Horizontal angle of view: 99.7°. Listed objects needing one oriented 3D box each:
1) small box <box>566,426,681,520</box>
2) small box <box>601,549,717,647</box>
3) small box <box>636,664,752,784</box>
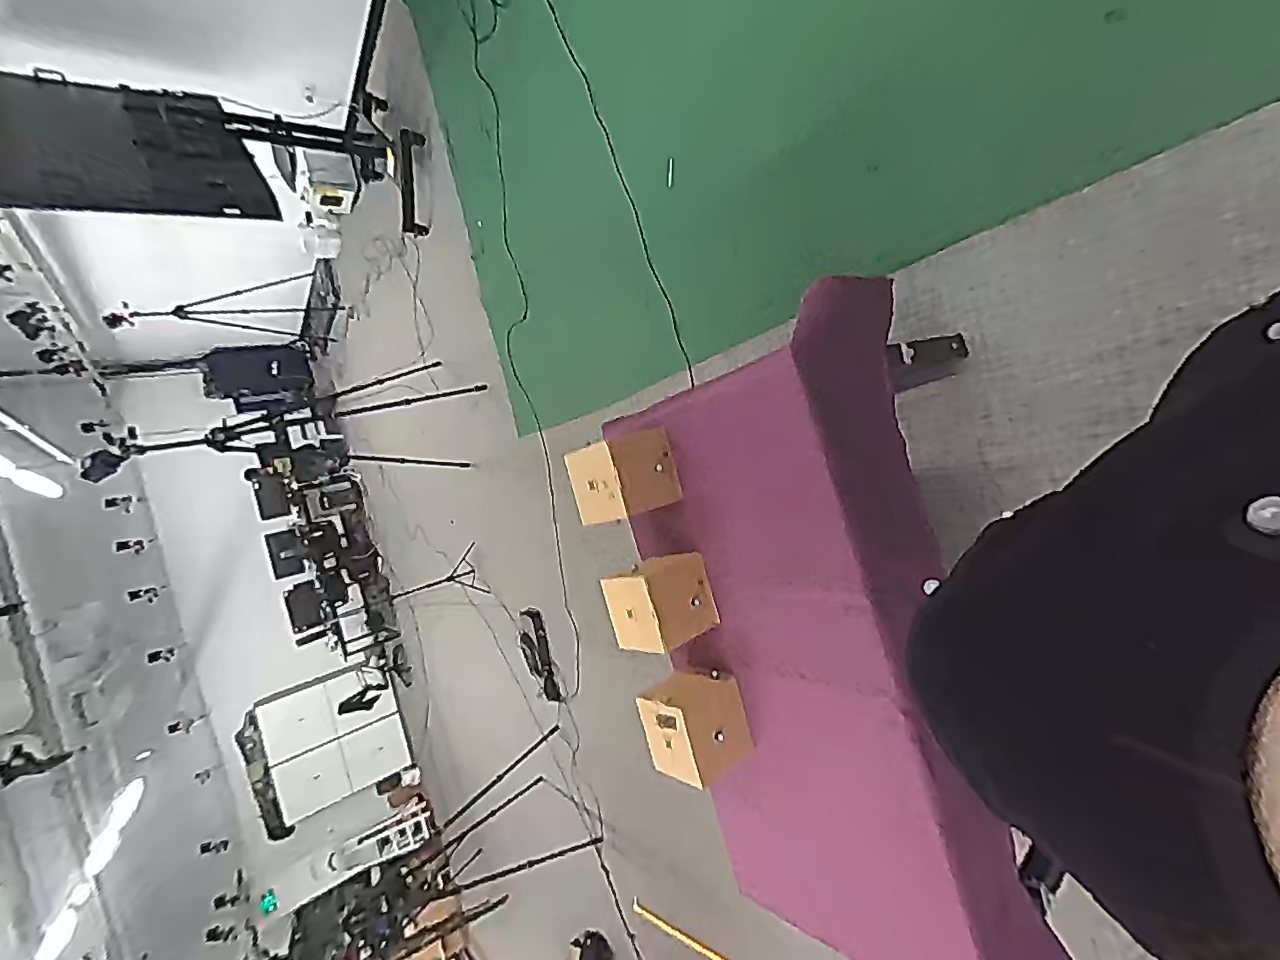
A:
[{"bbox_3d":[-0.037,-0.015,1.216,0.179,0.176,0.168,-14,93,50],"label":"small box"},{"bbox_3d":[0.043,0.263,1.223,0.179,0.176,0.168,-17,89,52],"label":"small box"},{"bbox_3d":[0.123,0.533,1.216,0.168,0.176,0.179,-15,92,53],"label":"small box"}]
